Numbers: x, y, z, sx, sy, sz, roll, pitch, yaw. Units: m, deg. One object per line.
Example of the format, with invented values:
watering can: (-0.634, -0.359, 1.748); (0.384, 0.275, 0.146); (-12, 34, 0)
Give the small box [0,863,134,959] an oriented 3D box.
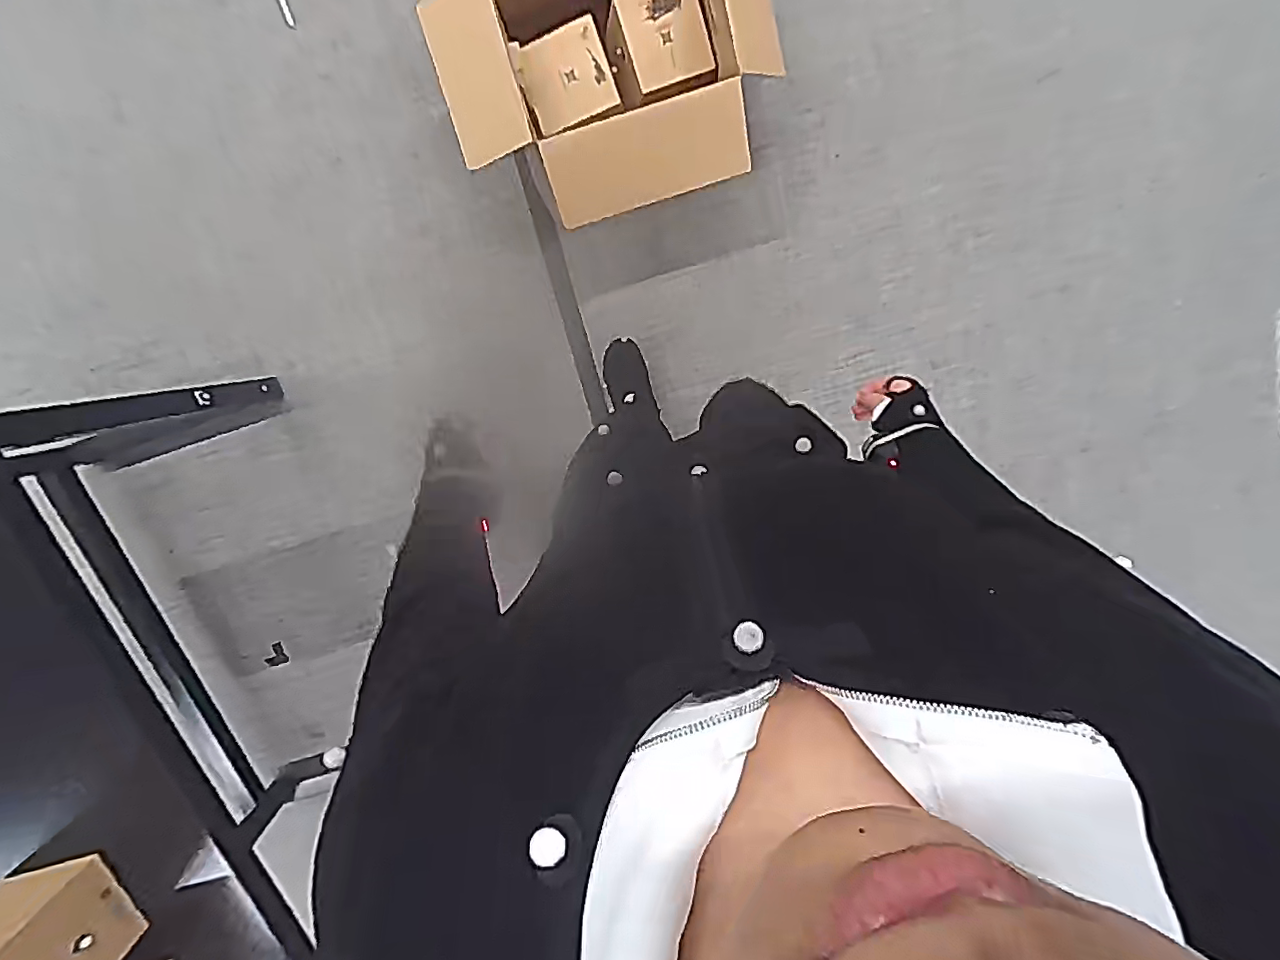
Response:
small box: (-0.932, 0.725, 0.817); (0.179, 0.176, 0.168); (-16, 104, 3)
